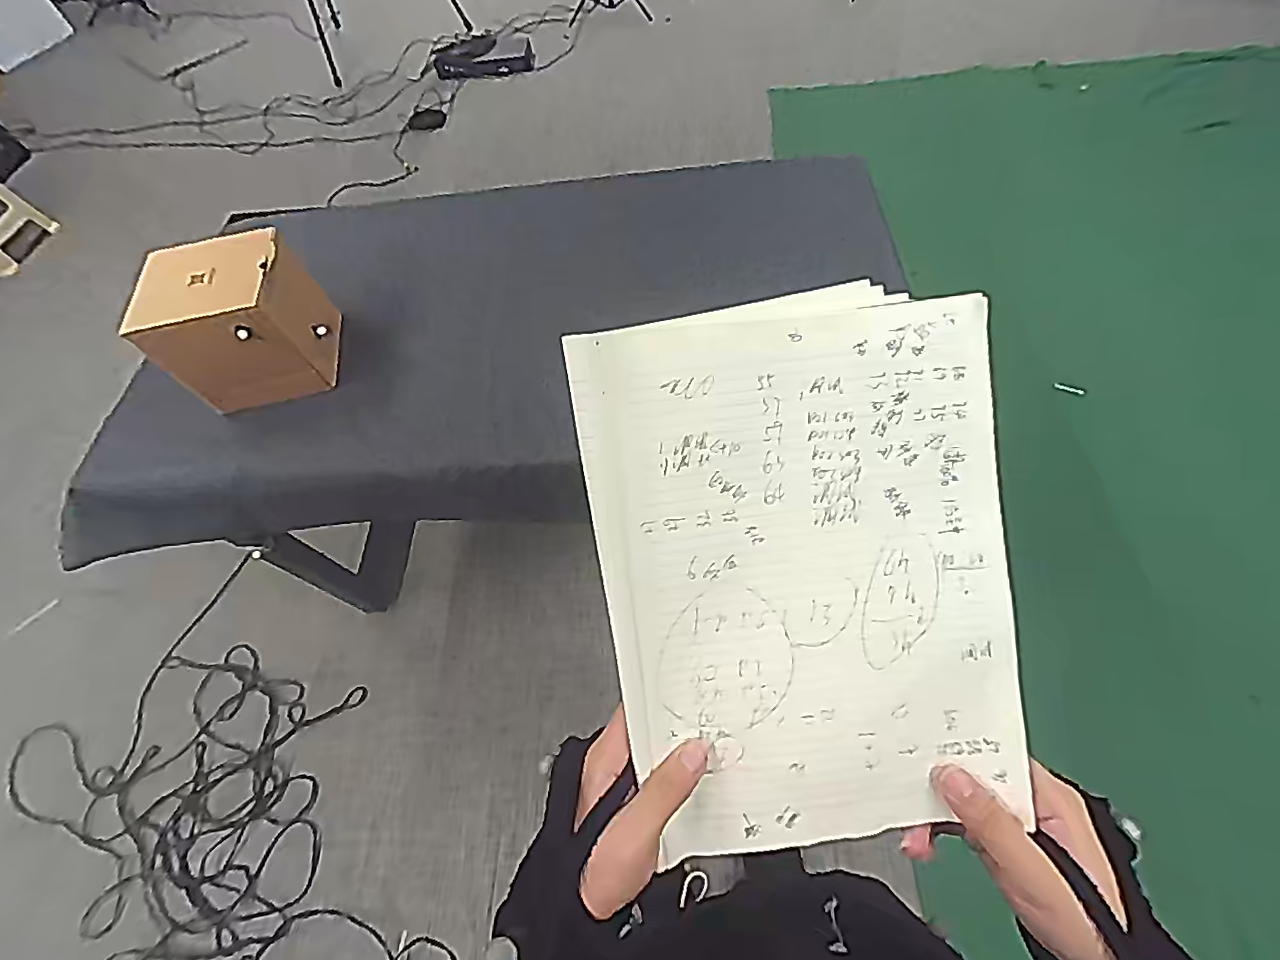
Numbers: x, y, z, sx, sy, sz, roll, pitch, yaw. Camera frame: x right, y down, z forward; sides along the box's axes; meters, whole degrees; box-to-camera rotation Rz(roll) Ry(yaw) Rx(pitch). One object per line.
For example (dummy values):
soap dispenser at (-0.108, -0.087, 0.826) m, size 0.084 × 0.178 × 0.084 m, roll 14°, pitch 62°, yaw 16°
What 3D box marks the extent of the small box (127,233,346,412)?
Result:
small box at (-0.563, -0.220, 0.783) m, size 0.179 × 0.176 × 0.168 m, roll -13°, pitch 59°, yaw -2°
